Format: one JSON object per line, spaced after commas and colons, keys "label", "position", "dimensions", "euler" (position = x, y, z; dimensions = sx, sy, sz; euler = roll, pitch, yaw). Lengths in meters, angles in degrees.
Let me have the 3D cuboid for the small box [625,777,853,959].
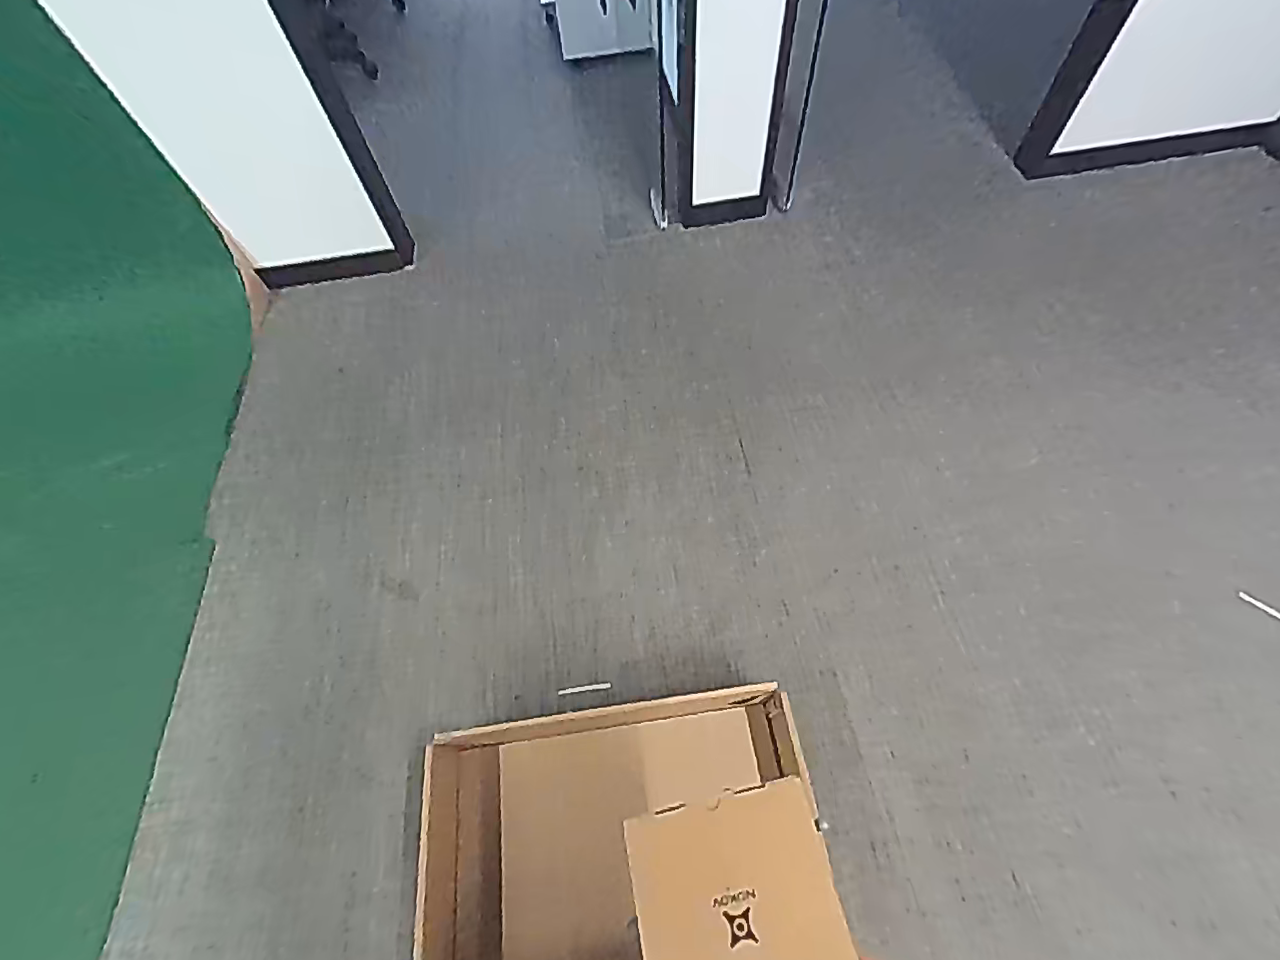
{"label": "small box", "position": [0.096, 0.401, 0.509], "dimensions": [0.168, 0.176, 0.179], "euler": [-16, 53, 2]}
